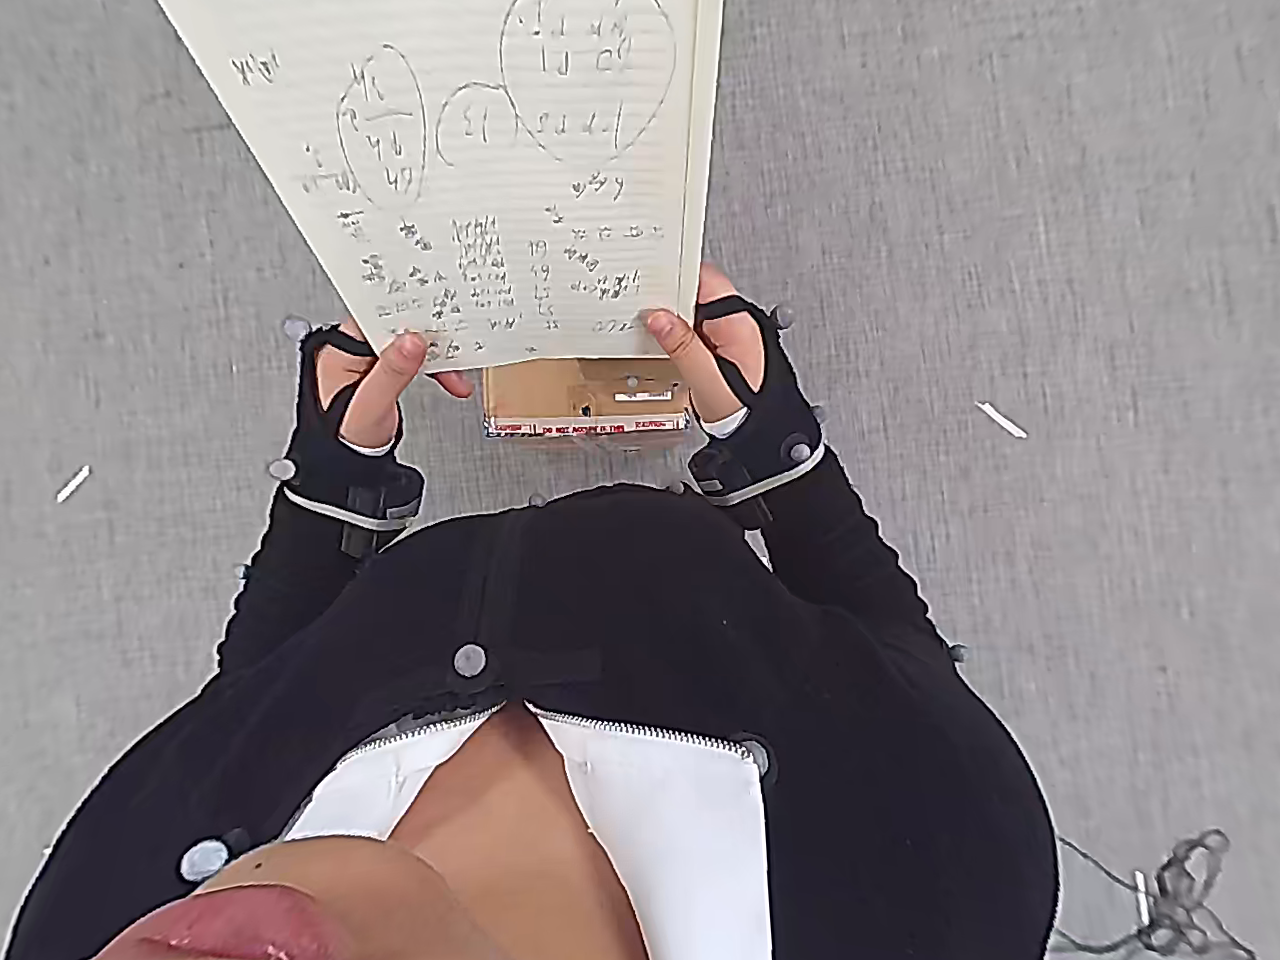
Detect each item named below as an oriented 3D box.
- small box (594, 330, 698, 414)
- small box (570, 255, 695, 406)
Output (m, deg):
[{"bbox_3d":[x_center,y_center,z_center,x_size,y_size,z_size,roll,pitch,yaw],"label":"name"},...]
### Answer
[{"bbox_3d":[0.002,-0.212,0.958,0.179,0.176,0.168,-4,90,-1],"label":"small box"},{"bbox_3d":[-0.013,-0.209,0.793,0.168,0.176,0.179,0,91,-2],"label":"small box"}]
